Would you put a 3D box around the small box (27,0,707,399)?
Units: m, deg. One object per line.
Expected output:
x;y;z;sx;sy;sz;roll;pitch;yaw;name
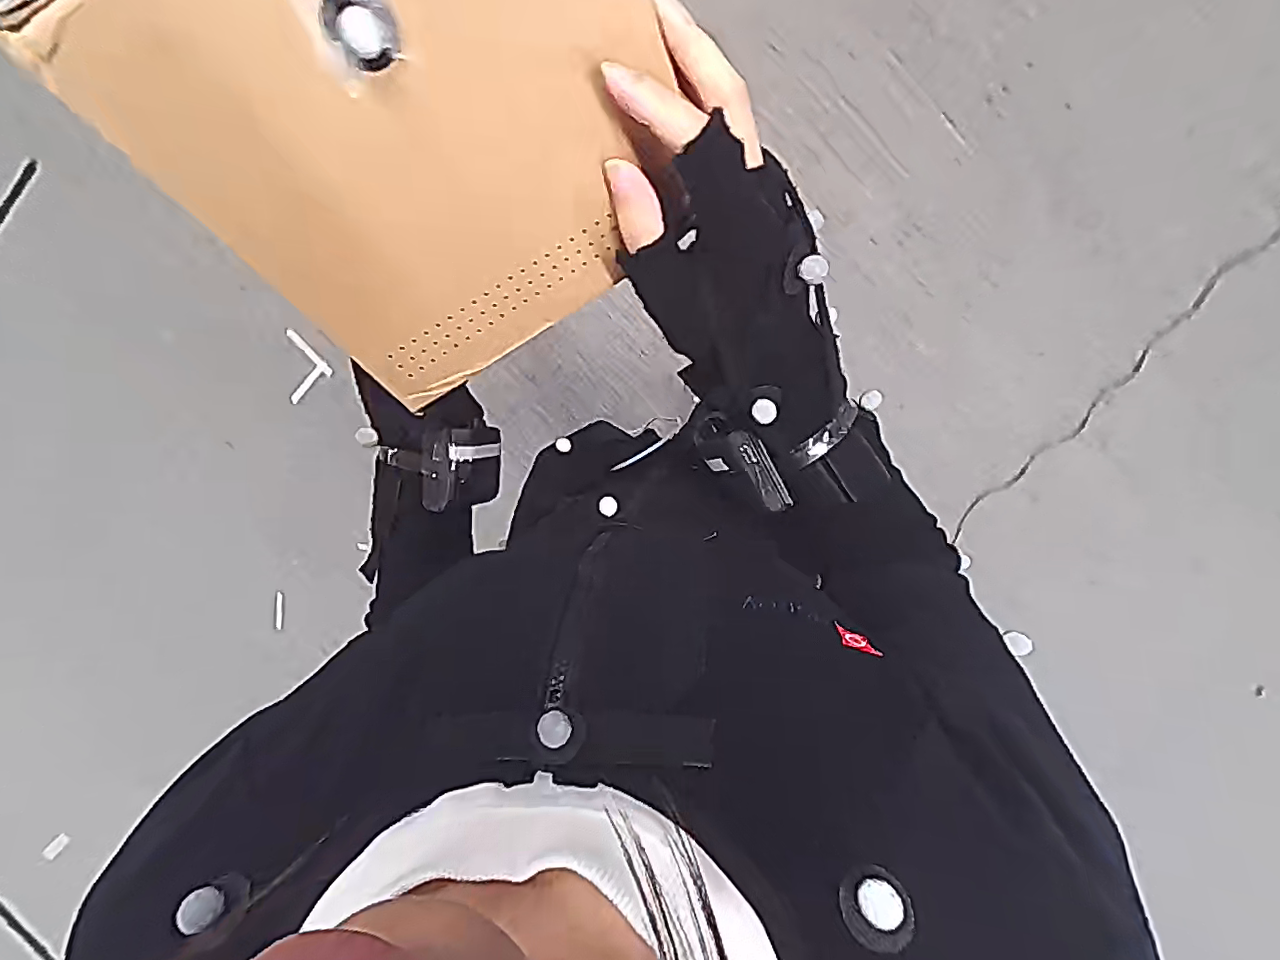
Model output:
-0.094;-0.171;0.254;0.179;0.176;0.168;-33;52;2;small box
